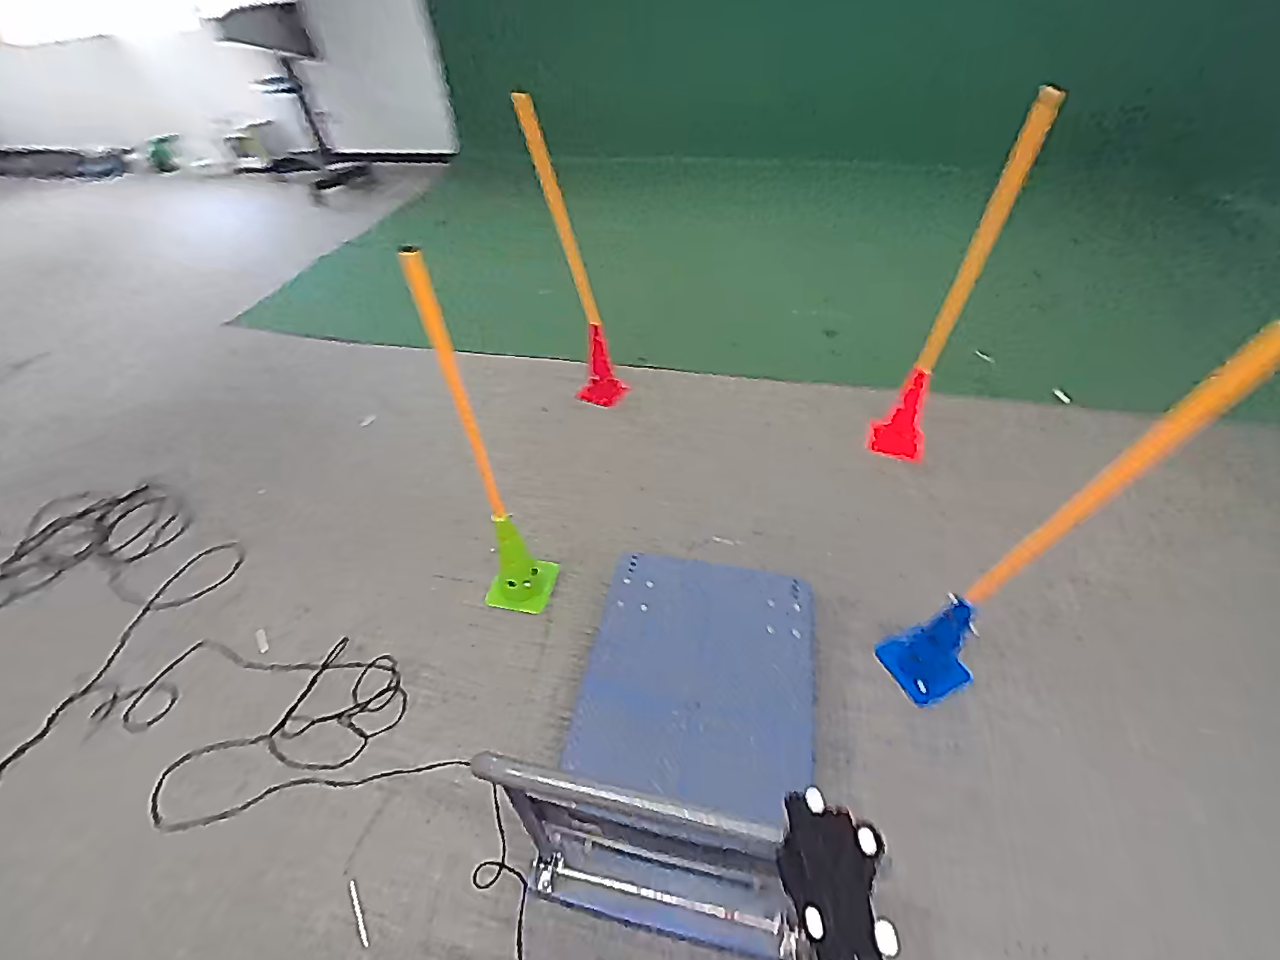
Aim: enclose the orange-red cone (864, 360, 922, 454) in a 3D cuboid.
[{"bbox_3d":[1.020,-0.301,2.088,0.198,0.360,0.199,15,50,19],"label":"orange-red cone"}]
